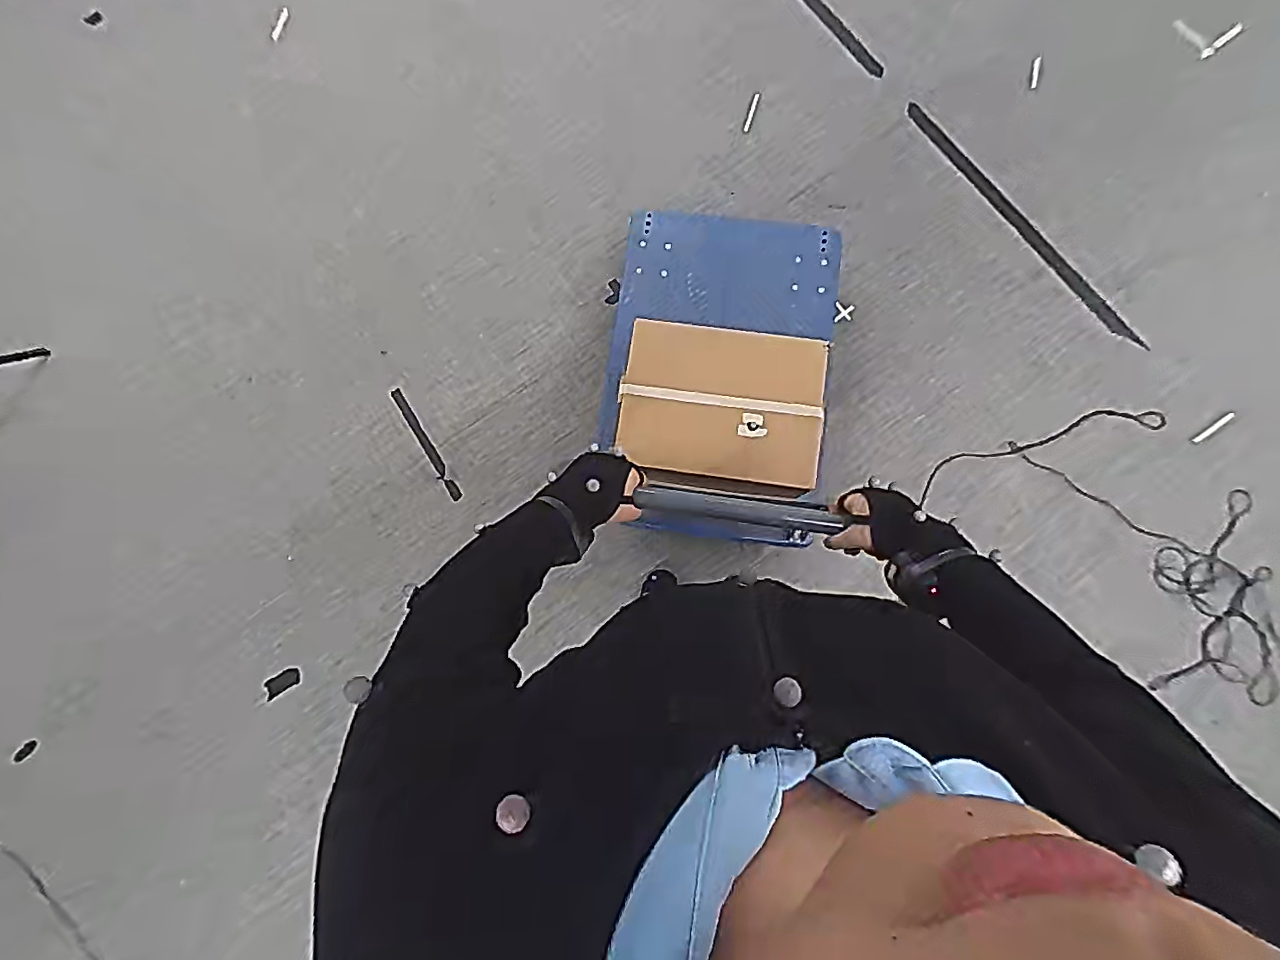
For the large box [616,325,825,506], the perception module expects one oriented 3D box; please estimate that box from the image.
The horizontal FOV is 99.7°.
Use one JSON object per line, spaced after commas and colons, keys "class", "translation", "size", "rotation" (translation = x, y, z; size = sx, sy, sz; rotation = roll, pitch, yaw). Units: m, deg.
{"class": "large box", "translation": [0.168, -0.130, 1.245], "size": [0.408, 0.320, 0.320], "rotation": [8, 82, 3]}
